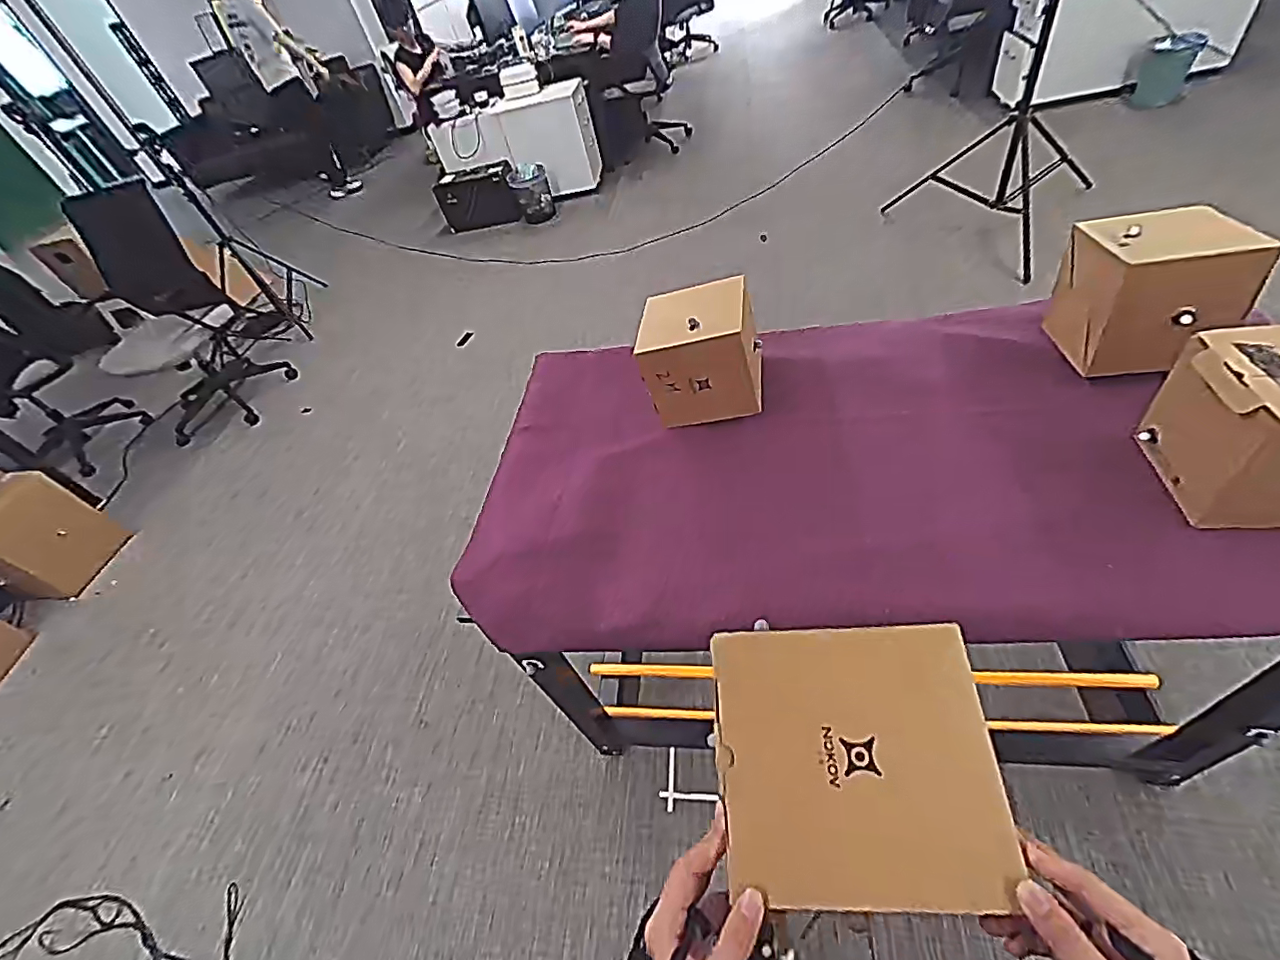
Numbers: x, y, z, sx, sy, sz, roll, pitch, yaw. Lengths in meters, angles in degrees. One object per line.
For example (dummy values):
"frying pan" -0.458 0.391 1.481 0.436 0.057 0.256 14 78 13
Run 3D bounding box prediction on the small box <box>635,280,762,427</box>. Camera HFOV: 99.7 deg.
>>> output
"small box" 0.108 -0.217 0.926 0.179 0.168 0.176 -7 46 20

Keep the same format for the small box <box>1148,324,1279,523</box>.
"small box" 0.737 -0.062 0.617 0.179 0.176 0.168 -2 47 14

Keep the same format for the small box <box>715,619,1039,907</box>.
"small box" 0.153 0.210 0.422 0.179 0.176 0.168 -5 62 8
